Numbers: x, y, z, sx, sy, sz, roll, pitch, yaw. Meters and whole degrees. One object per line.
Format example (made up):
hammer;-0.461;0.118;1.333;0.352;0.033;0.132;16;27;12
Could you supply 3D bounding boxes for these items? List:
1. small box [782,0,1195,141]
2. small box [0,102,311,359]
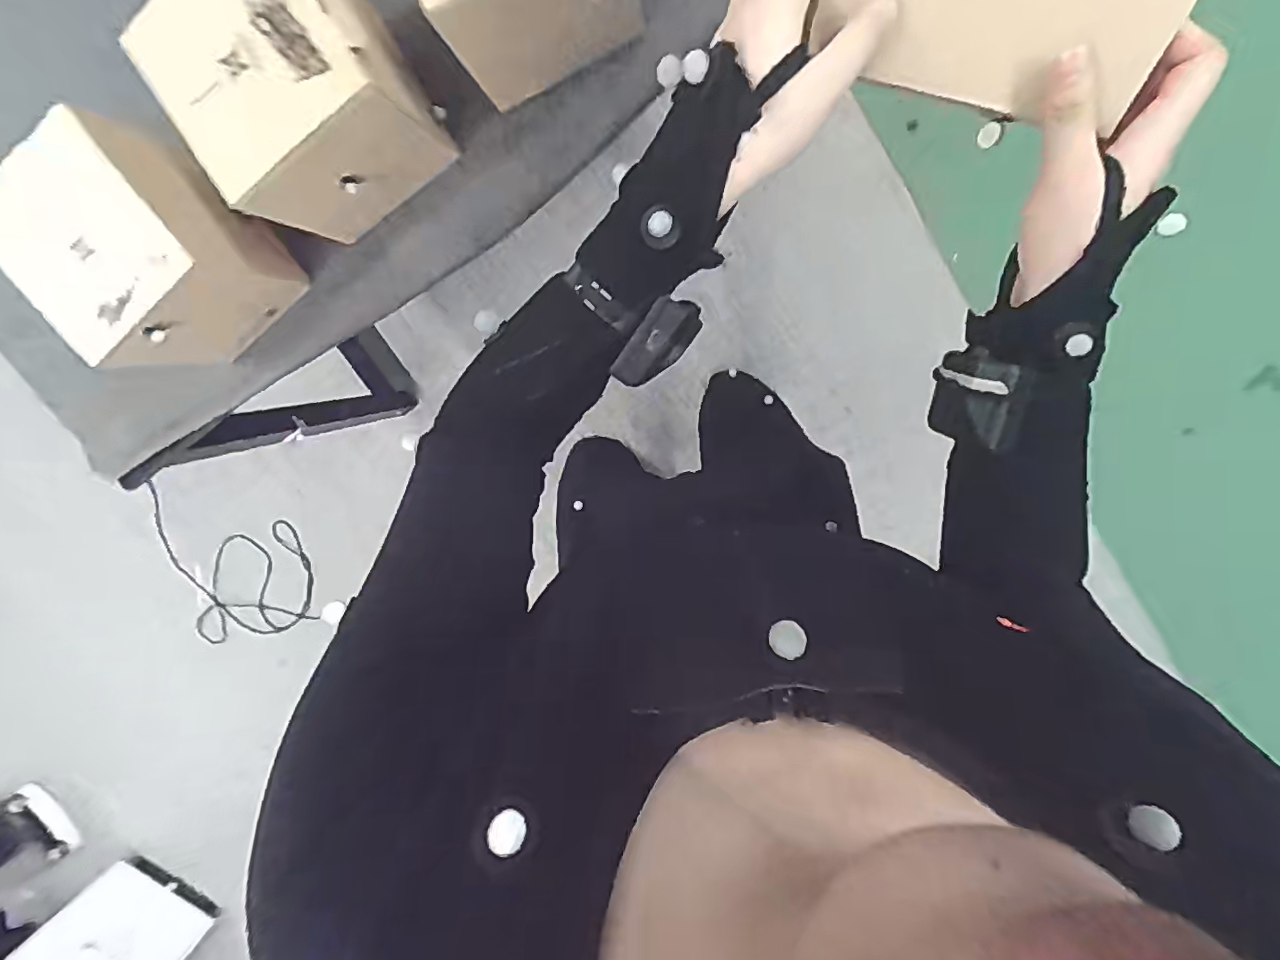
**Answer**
small box;0.190;-0.309;0.296;0.179;0.176;0.168;15;129;2
small box;-0.520;-0.248;0.592;0.168;0.176;0.179;-34;97;12
